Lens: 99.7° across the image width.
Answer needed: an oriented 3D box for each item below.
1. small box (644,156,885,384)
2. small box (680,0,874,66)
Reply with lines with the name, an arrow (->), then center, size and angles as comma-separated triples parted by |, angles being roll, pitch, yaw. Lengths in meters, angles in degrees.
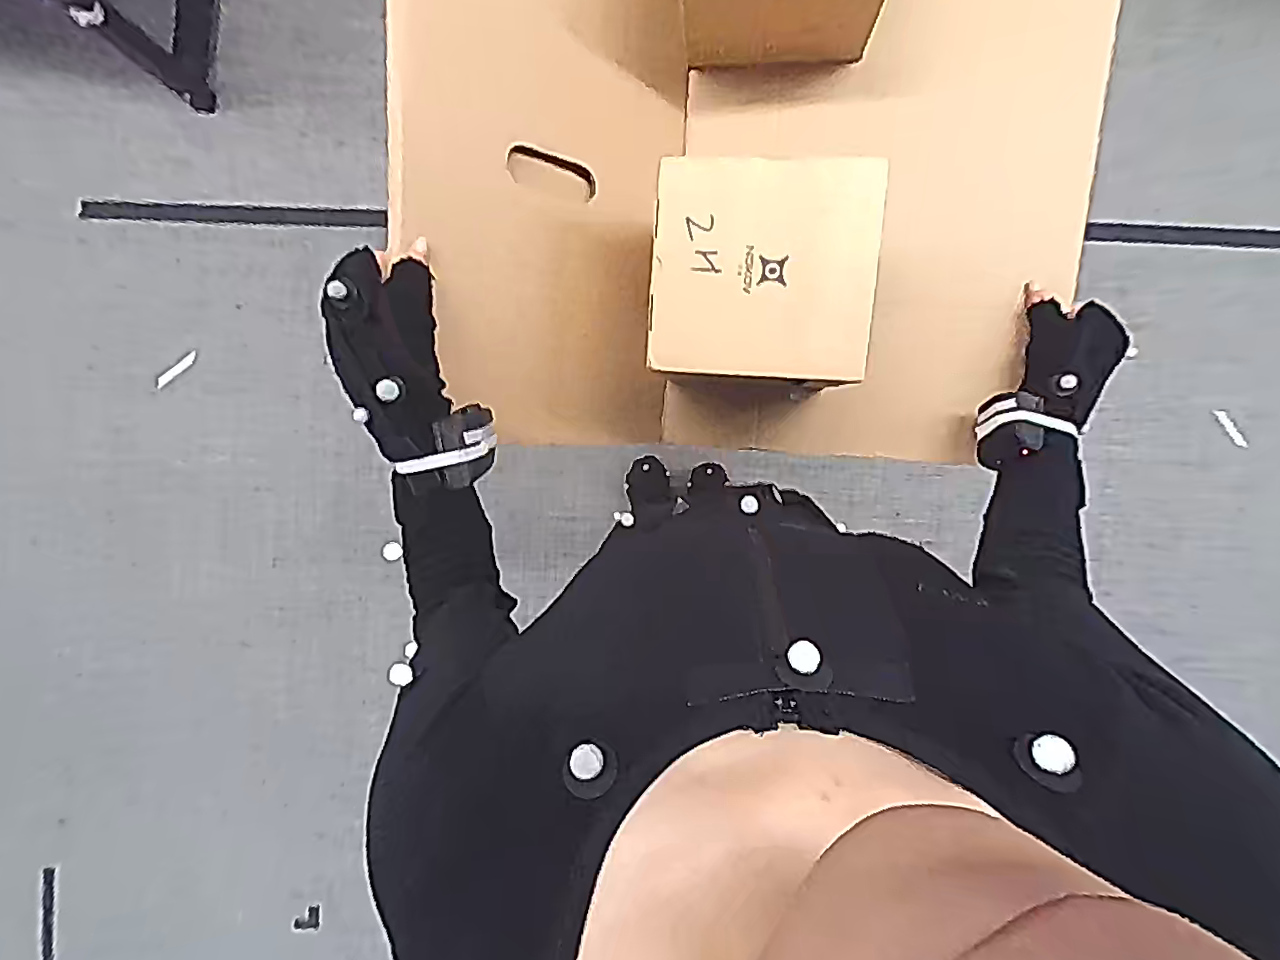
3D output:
small box -> 0.107, -0.181, 0.512 | 0.179, 0.176, 0.168 | 6, 99, 8
small box -> 0.124, -0.495, 0.466 | 0.179, 0.176, 0.168 | 4, 99, 8
